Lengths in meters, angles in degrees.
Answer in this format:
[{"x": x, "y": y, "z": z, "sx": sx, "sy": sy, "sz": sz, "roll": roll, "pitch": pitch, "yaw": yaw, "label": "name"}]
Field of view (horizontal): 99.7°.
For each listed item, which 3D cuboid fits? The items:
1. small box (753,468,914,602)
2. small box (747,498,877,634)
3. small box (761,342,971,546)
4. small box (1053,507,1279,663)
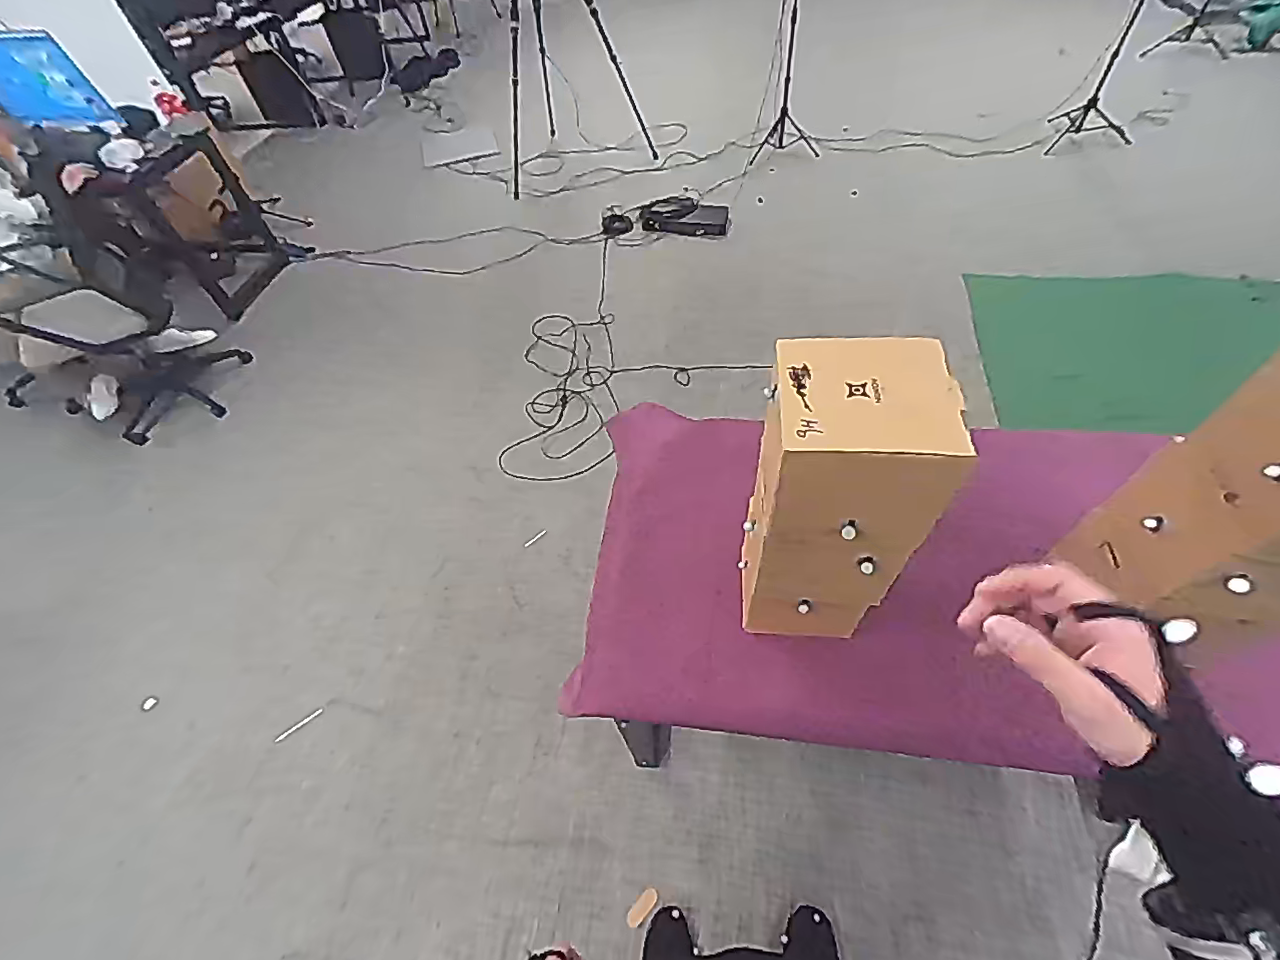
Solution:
[{"x": 0.253, "y": 0.058, "z": 0.749, "sx": 0.179, "sy": 0.176, "sz": 0.168, "roll": 2, "pitch": 53, "yaw": 10, "label": "small box"}, {"x": 0.269, "y": 0.144, "z": 0.889, "sx": 0.179, "sy": 0.176, "sz": 0.168, "roll": 1, "pitch": 54, "yaw": 9, "label": "small box"}, {"x": 0.236, "y": -0.037, "z": 0.617, "sx": 0.179, "sy": 0.176, "sz": 0.168, "roll": 2, "pitch": 54, "yaw": 9, "label": "small box"}, {"x": 0.761, "y": 0.159, "z": 0.810, "sx": 0.179, "sy": 0.176, "sz": 0.168, "roll": 5, "pitch": 54, "yaw": 11, "label": "small box"}]
